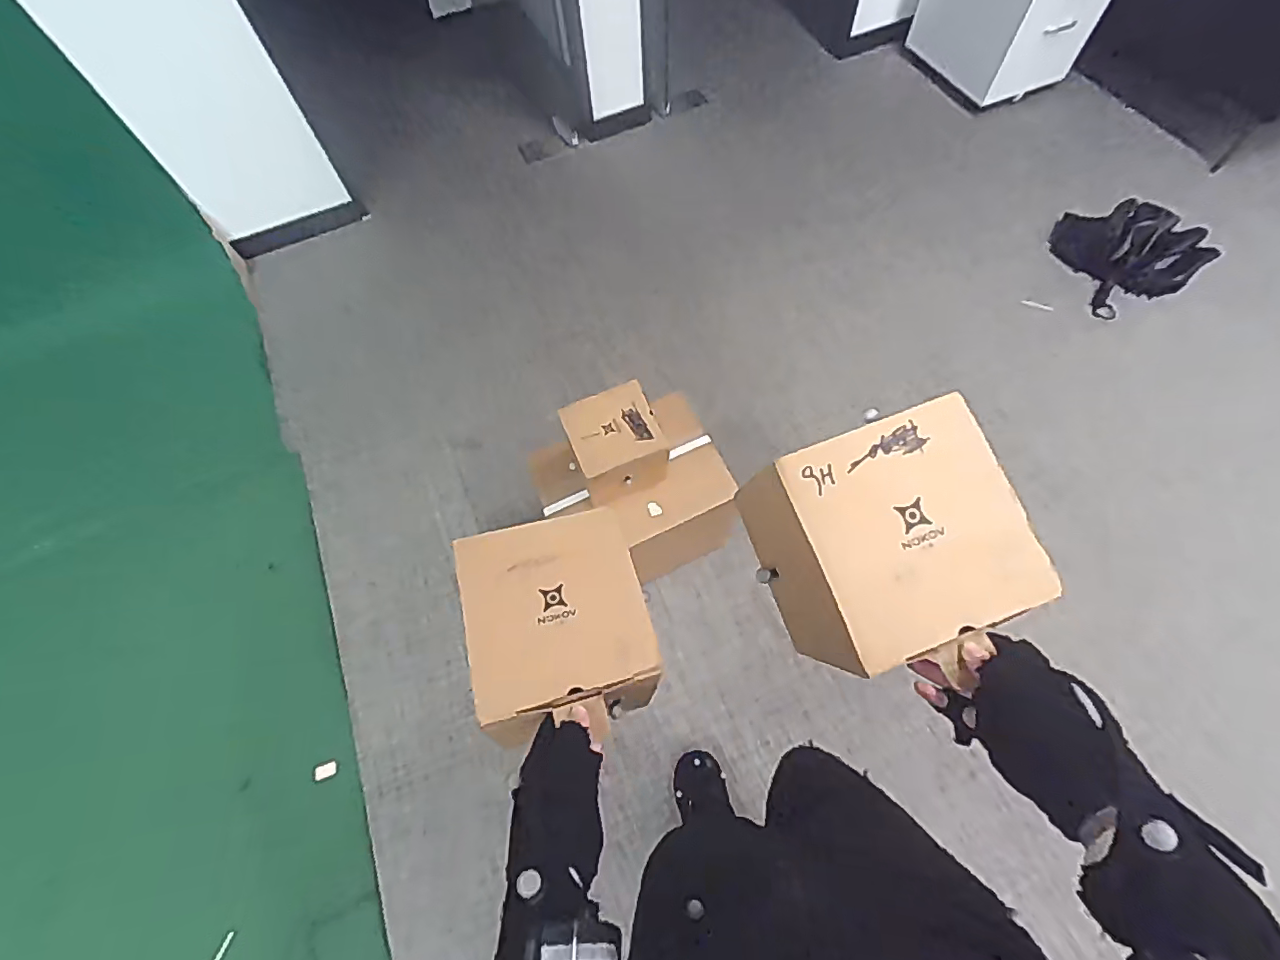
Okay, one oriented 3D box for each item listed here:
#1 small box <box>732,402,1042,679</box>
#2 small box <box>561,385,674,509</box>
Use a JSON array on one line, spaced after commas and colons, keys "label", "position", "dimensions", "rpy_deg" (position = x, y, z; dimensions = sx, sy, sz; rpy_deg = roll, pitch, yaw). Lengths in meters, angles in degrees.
[{"label": "small box", "position": [0.202, 0.056, 0.499], "dimensions": [0.168, 0.176, 0.179], "rpy_deg": [-21, 81, -5]}, {"label": "small box", "position": [-0.047, -0.063, 1.133], "dimensions": [0.179, 0.176, 0.168], "rpy_deg": [-25, 71, -9]}]
